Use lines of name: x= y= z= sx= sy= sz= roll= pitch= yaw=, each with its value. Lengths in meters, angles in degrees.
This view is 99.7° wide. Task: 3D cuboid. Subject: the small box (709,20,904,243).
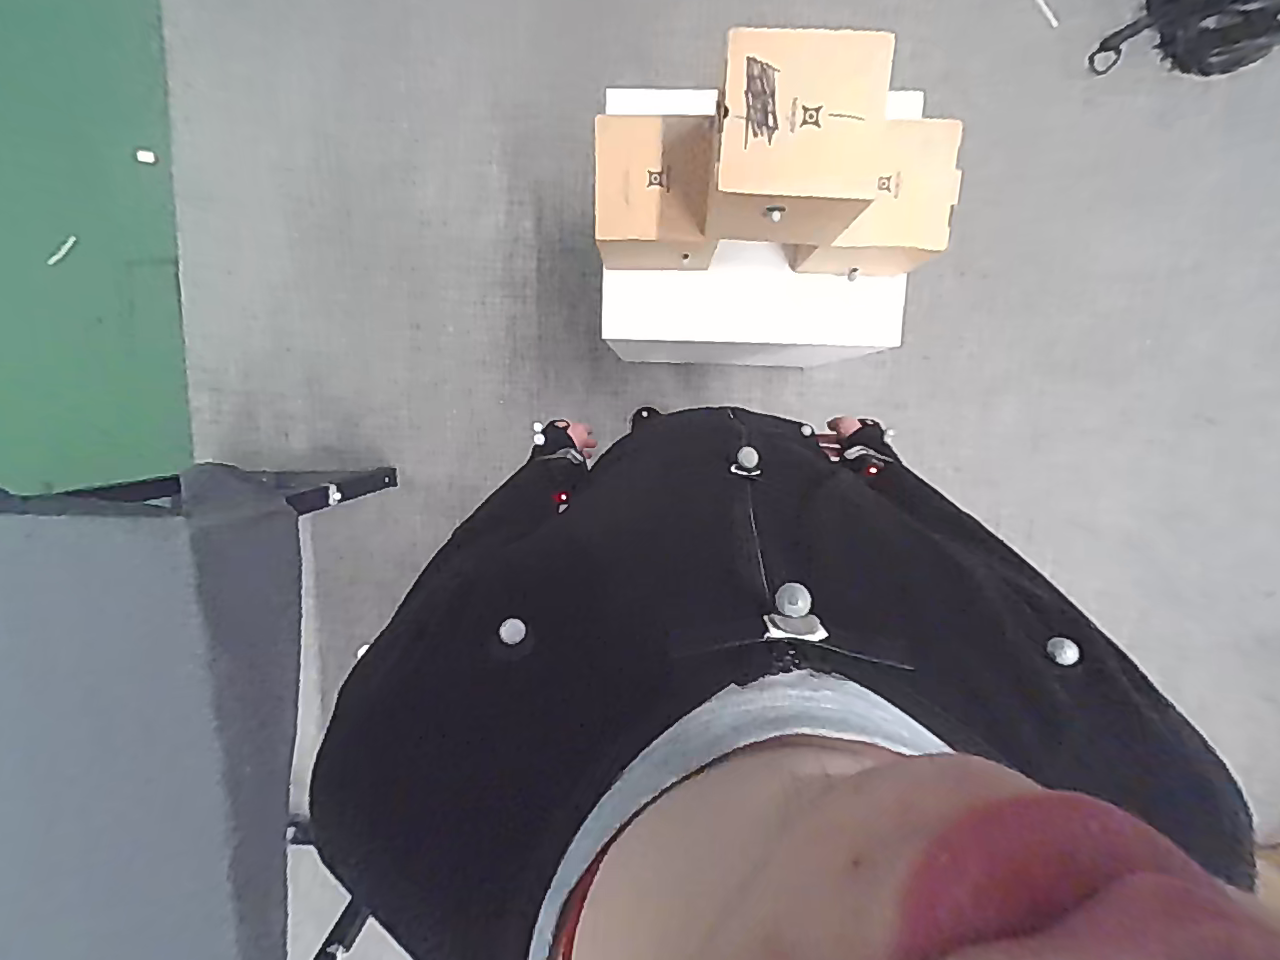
small box: x=0.180 y=-0.392 z=0.639 sx=0.179 sy=0.176 sz=0.168 roll=3 pitch=97 yaw=0

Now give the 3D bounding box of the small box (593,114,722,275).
small box: x=0.023 y=-0.410 z=0.801 sx=0.179 sy=0.176 sz=0.168 roll=-1 pitch=96 yaw=0

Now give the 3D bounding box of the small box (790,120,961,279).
small box: x=0.336 y=-0.405 z=0.803 sx=0.179 sy=0.176 sz=0.168 roll=2 pitch=98 yaw=1
